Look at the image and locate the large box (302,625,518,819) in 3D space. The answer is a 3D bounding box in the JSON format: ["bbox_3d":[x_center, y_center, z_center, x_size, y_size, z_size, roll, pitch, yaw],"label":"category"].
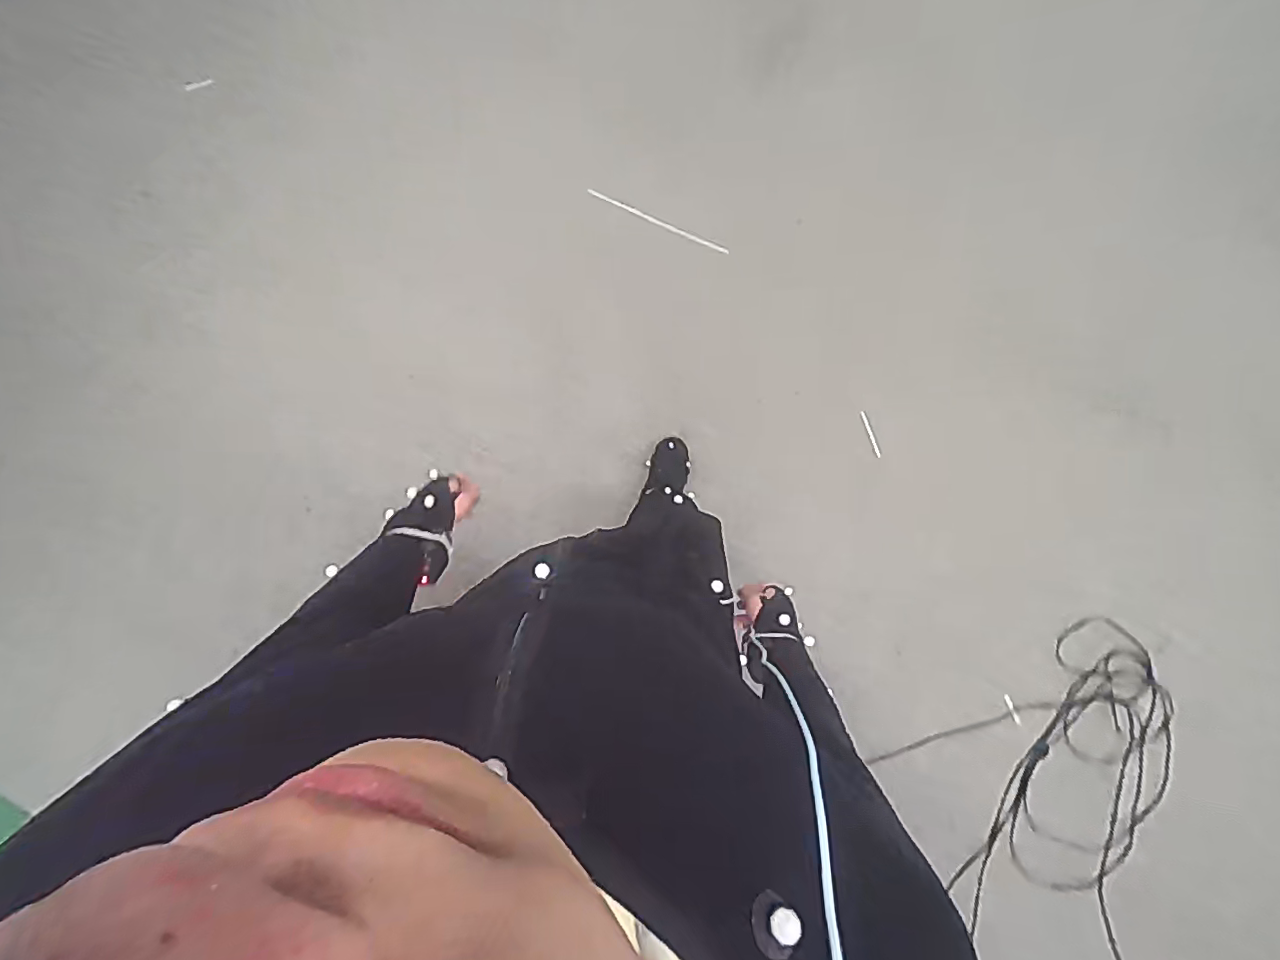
[{"bbox_3d":[-0.603,0.637,1.487,0.408,0.320,0.320,18,88,5],"label":"large box"}]
